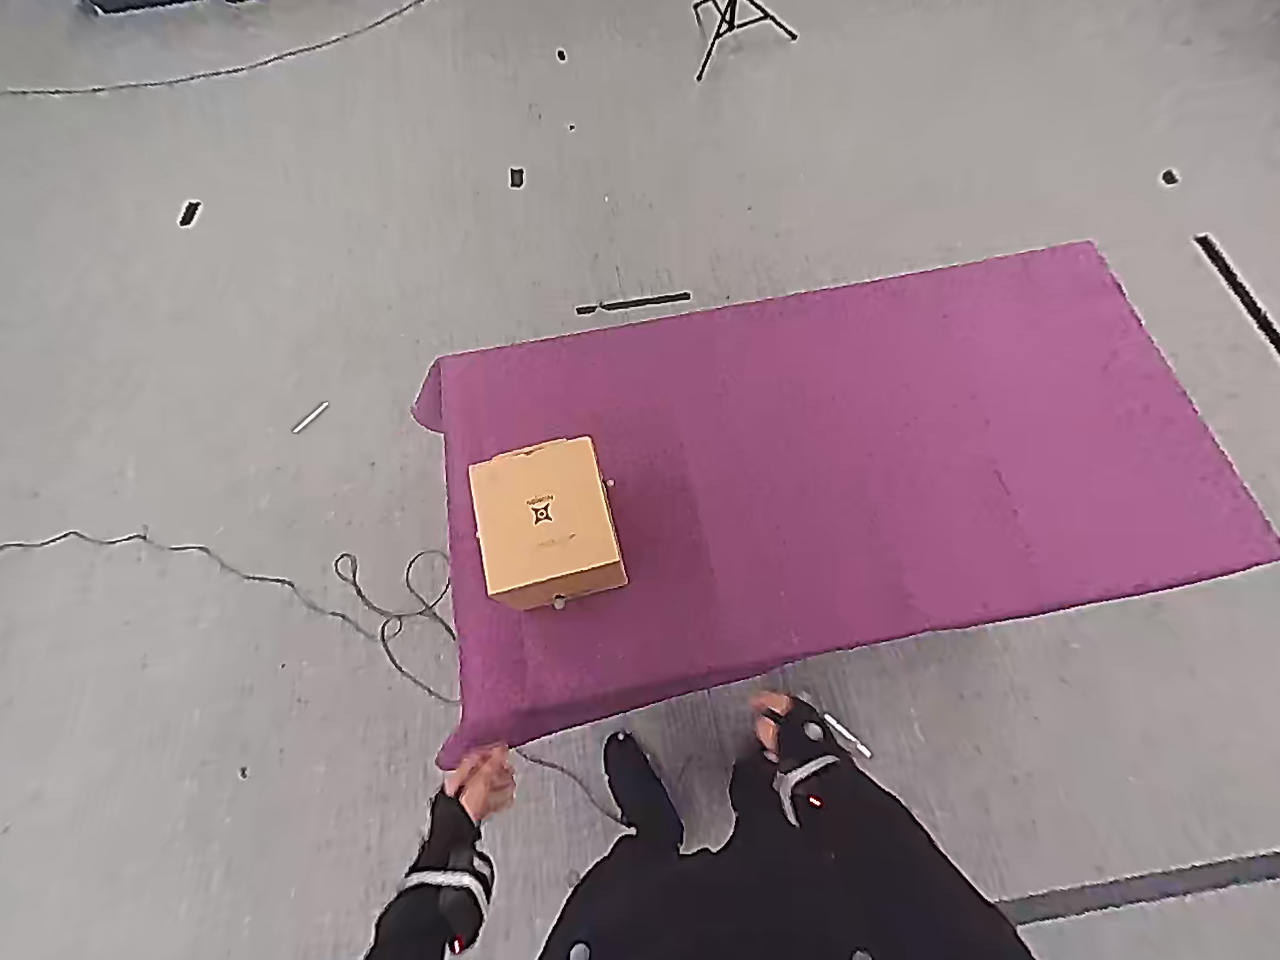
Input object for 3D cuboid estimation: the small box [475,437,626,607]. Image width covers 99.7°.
[{"bbox_3d":[-0.120,0.066,0.764,0.168,0.176,0.179,-14,69,-3],"label":"small box"}]
